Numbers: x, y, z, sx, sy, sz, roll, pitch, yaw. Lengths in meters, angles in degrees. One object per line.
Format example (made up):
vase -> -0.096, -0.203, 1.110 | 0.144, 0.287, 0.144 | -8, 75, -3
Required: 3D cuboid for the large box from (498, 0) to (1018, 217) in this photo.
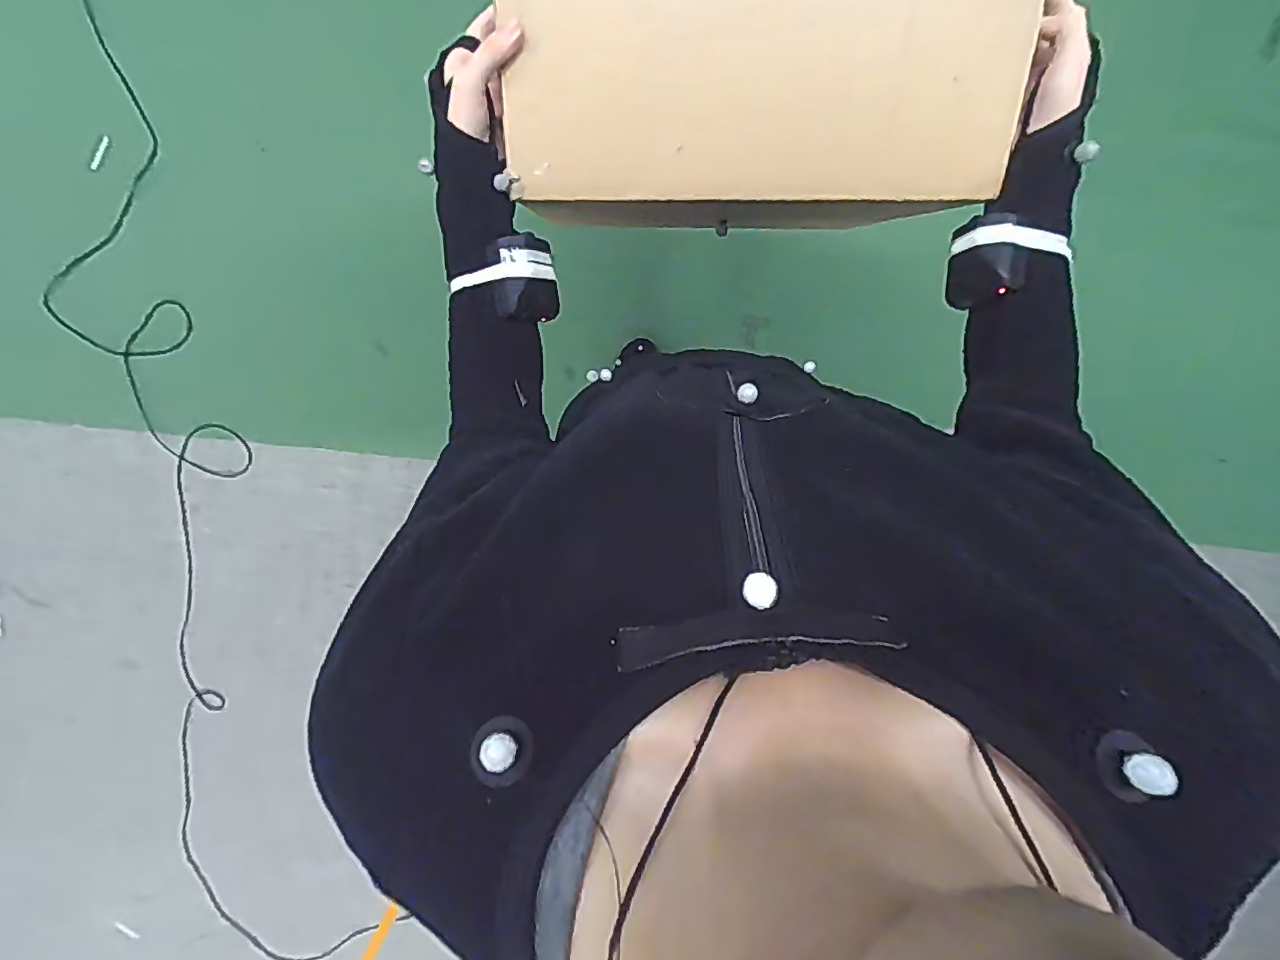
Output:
large box -> 0.089, -0.442, 0.536 | 0.408, 0.320, 0.320 | -1, 111, -1
